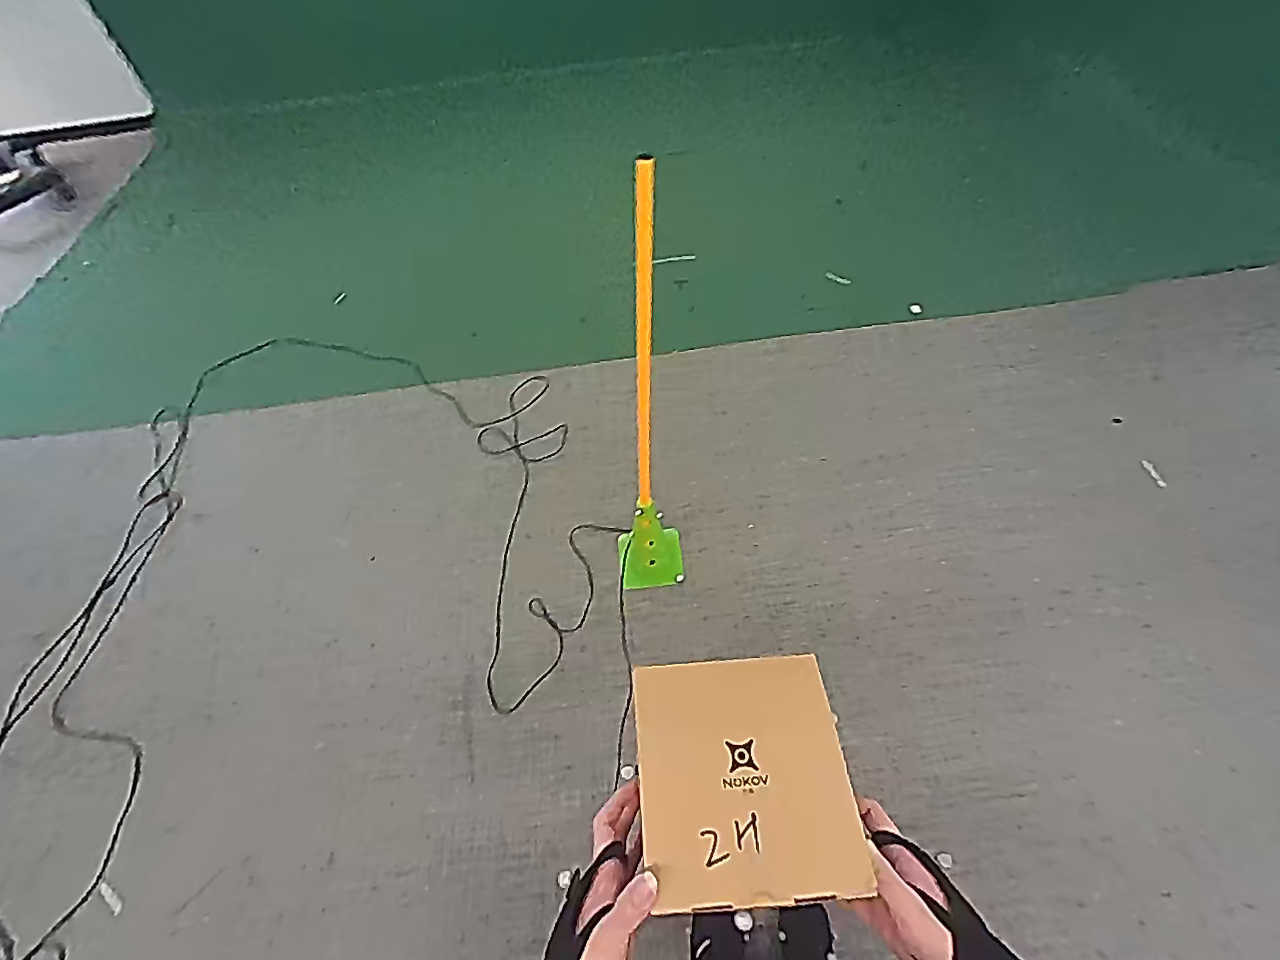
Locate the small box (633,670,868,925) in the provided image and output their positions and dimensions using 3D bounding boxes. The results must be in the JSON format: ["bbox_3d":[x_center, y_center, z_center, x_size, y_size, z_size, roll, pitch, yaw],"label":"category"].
[{"bbox_3d":[0.078,0.293,0.498,0.168,0.176,0.179,-3,52,-1],"label":"small box"}]

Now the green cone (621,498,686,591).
[{"bbox_3d":[0.027,0.162,1.616,0.202,0.368,0.200,-6,55,1],"label":"green cone"}]
